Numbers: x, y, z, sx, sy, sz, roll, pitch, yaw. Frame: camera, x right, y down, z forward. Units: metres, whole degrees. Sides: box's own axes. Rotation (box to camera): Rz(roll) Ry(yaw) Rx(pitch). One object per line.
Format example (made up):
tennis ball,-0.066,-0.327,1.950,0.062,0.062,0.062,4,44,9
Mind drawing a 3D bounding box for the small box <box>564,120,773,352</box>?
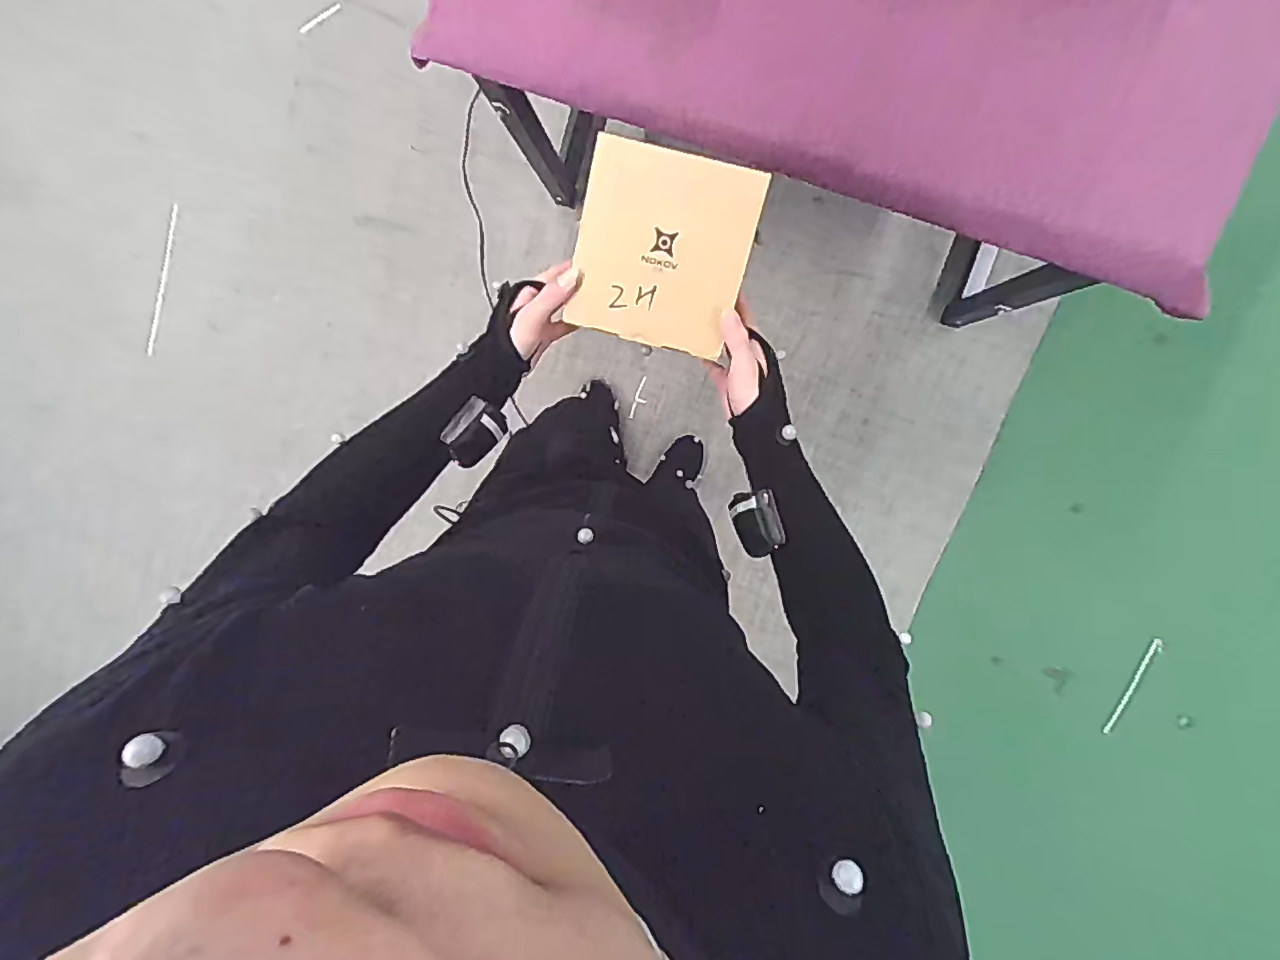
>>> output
small box,0.029,-0.249,0.593,0.168,0.176,0.179,15,106,1
